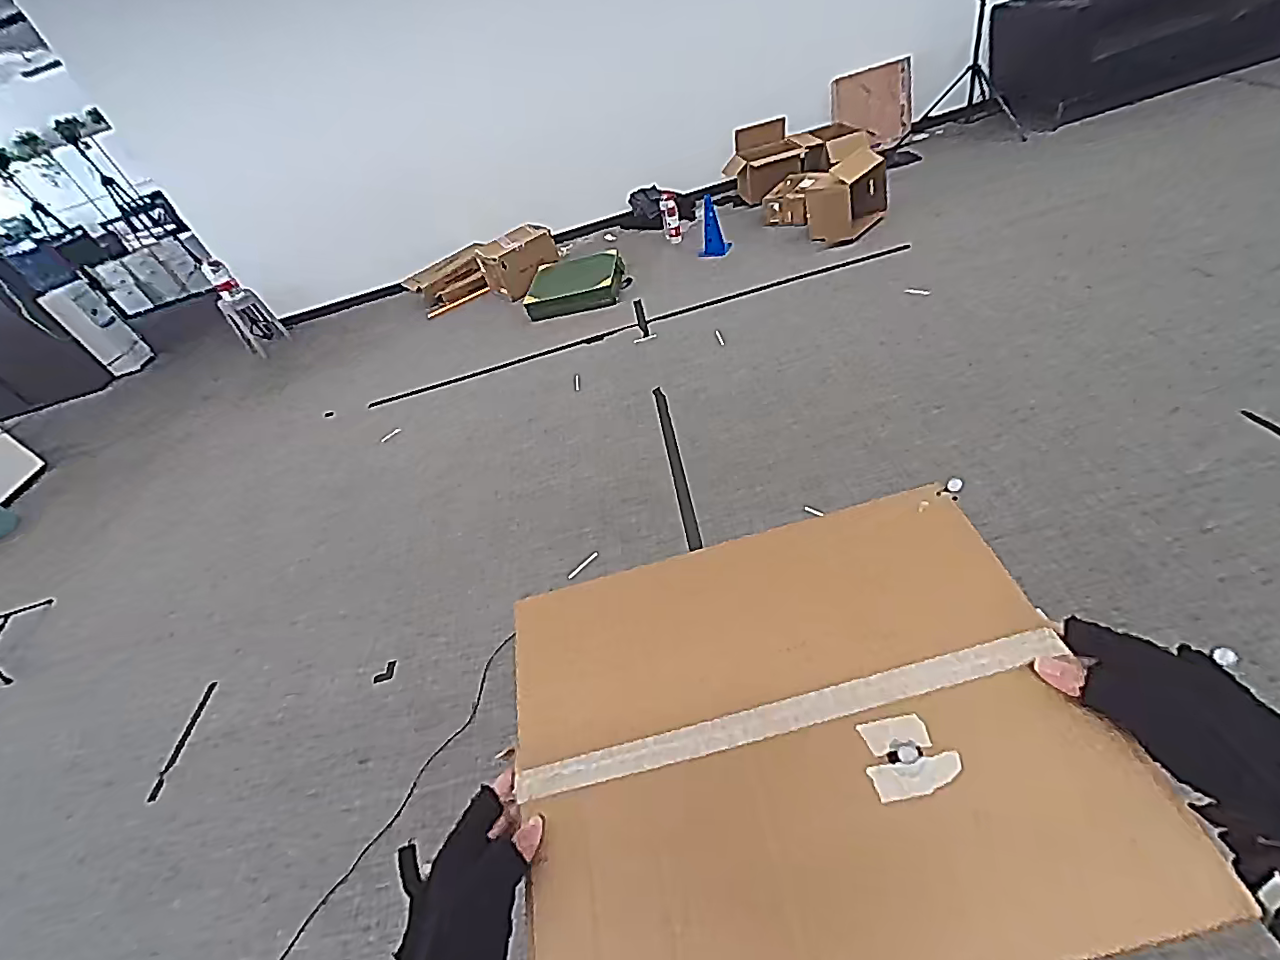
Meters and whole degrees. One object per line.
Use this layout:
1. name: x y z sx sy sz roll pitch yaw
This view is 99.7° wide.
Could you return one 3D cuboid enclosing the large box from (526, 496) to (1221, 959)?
1. large box: 0.141 0.275 0.517 0.408 0.320 0.320 -16 49 1
